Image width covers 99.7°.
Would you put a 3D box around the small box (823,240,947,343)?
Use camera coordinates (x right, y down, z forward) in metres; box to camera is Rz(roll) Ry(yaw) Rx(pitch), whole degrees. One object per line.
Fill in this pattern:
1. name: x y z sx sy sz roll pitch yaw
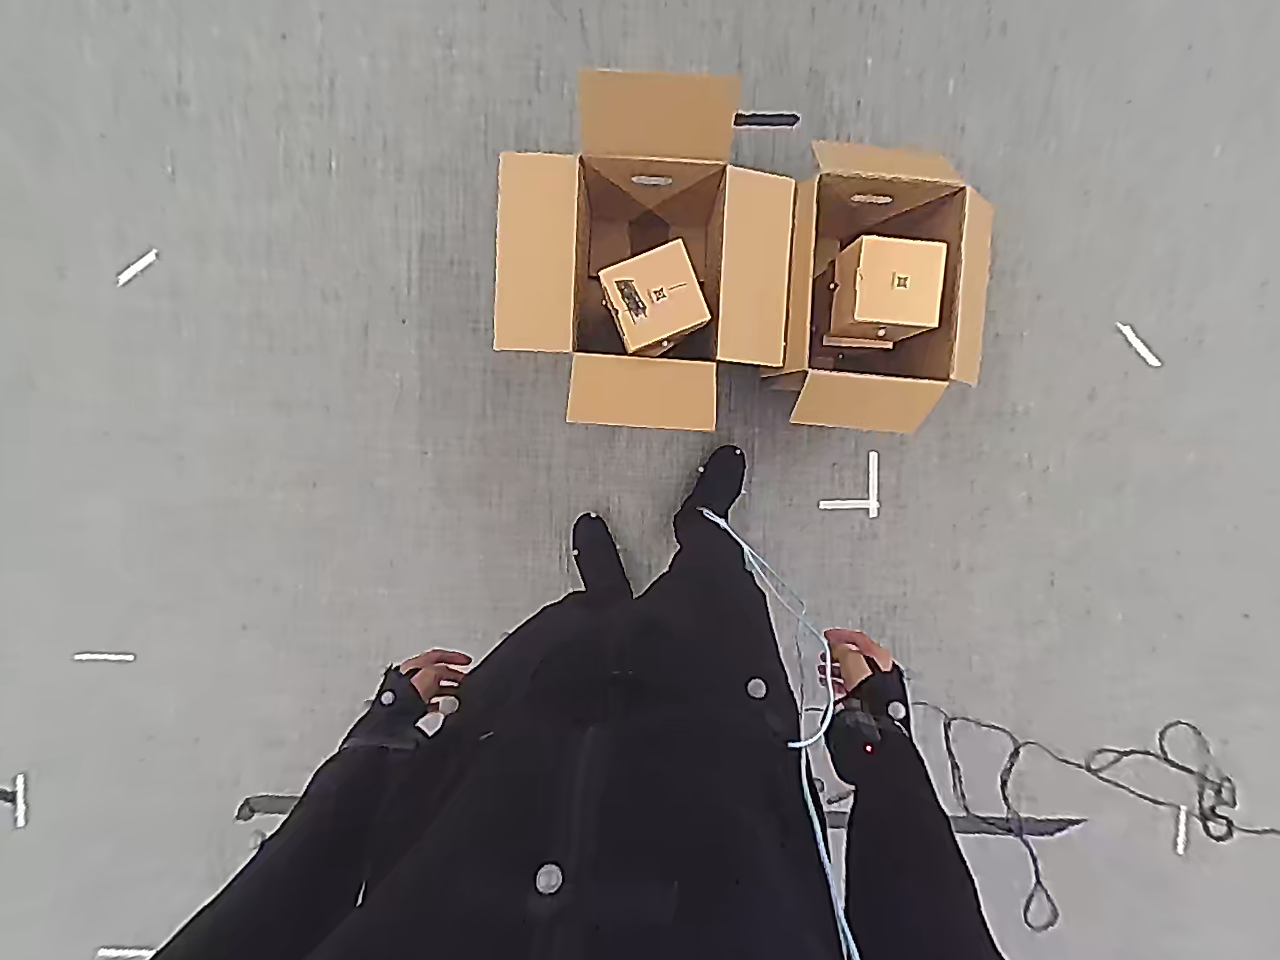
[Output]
1. small box: 0.511 -0.389 1.145 0.179 0.176 0.168 4 95 -1
